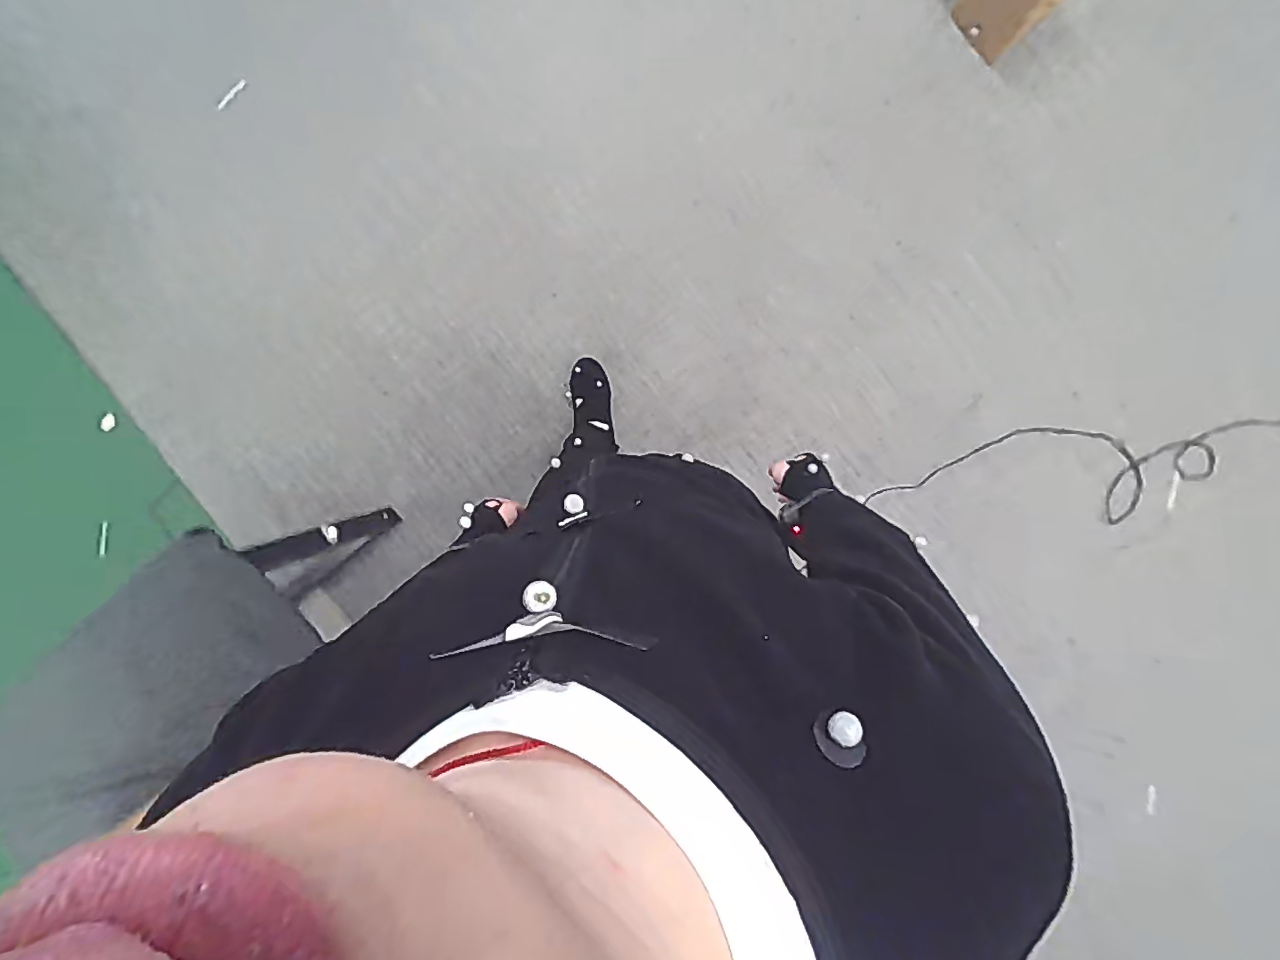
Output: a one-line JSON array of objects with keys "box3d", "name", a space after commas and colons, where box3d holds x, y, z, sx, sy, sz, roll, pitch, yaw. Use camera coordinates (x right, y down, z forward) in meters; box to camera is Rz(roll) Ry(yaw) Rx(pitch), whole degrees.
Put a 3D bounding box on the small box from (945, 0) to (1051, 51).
[{"box3d": [0.870, -1.166, 1.272, 0.168, 0.176, 0.179, -37, 92, 7], "name": "small box"}]
